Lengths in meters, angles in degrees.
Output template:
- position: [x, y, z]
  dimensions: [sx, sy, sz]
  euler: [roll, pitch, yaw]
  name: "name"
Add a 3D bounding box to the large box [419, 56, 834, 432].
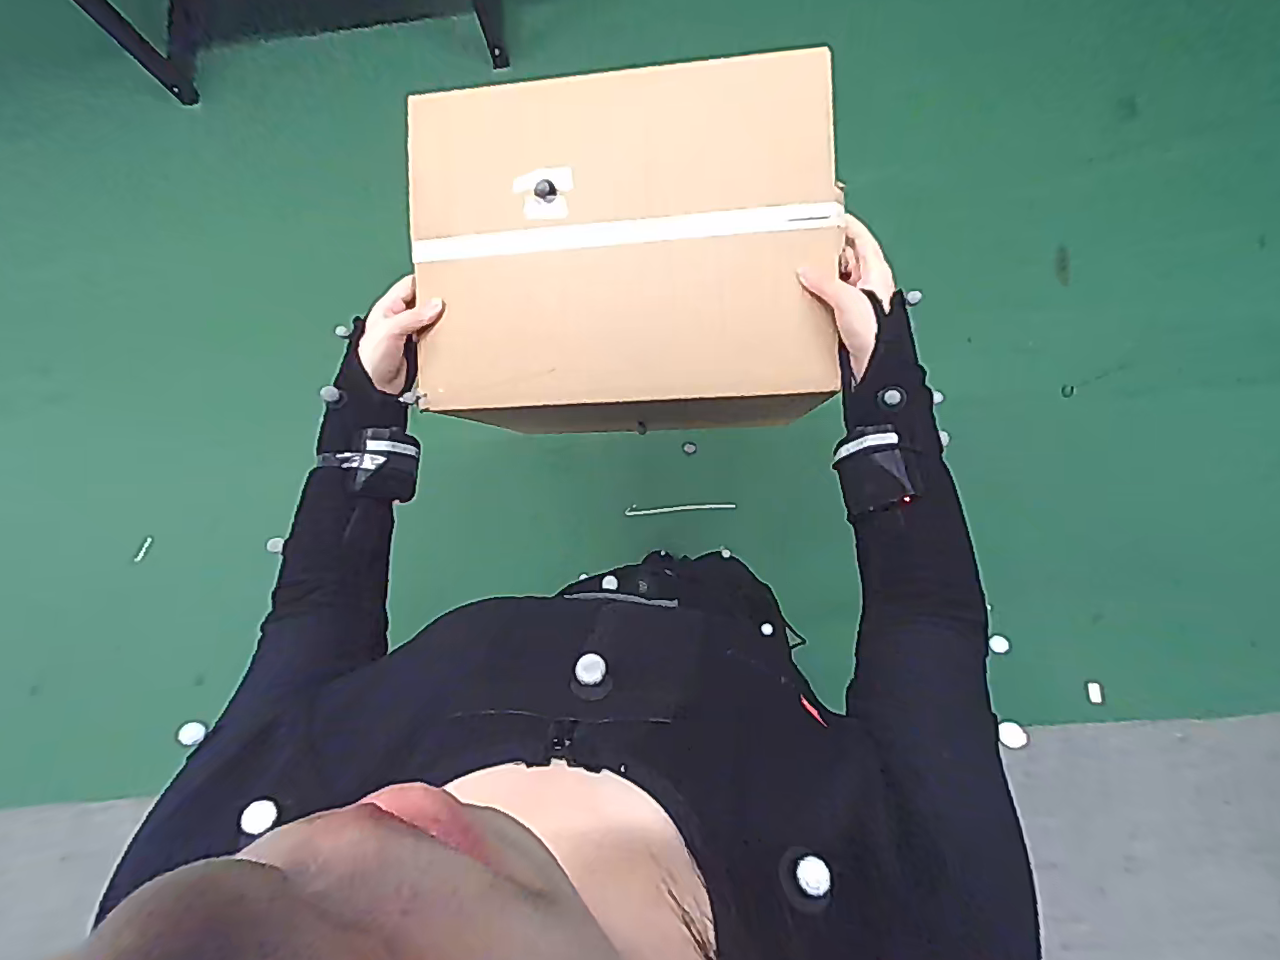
- position: [-0.002, -0.232, 0.673]
  dimensions: [0.408, 0.320, 0.320]
  euler: [-2, 89, 8]
  name: "large box"
